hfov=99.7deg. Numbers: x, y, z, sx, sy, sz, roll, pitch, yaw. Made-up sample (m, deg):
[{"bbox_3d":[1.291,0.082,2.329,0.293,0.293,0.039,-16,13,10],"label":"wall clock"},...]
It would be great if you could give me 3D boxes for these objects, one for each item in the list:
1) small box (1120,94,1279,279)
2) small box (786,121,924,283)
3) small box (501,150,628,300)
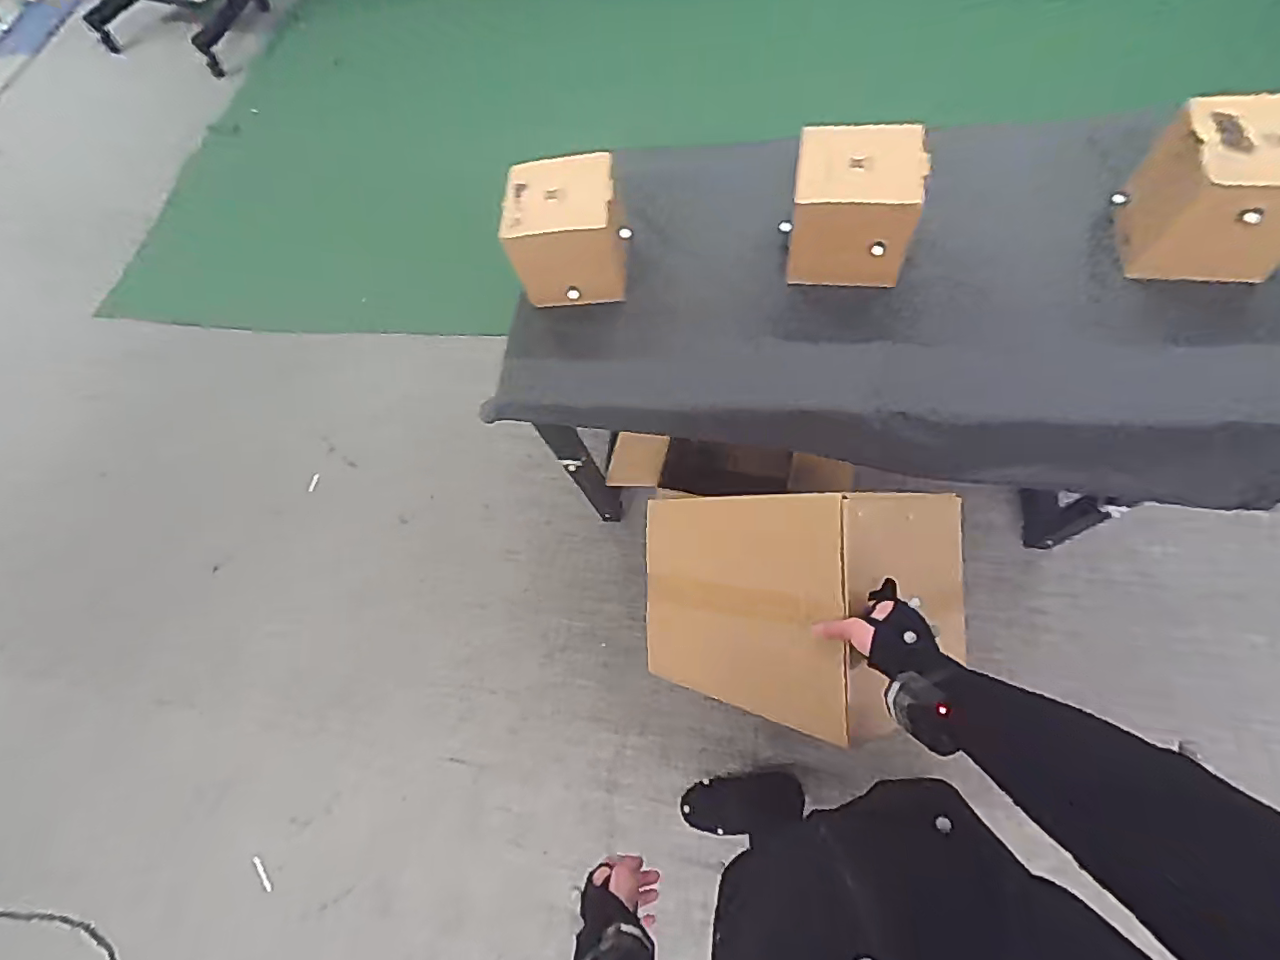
[{"bbox_3d":[0.827,-0.407,0.766,0.179,0.176,0.168,8,70,12],"label":"small box"},{"bbox_3d":[0.336,-0.437,0.867,0.179,0.176,0.168,6,68,13],"label":"small box"},{"bbox_3d":[-0.119,-0.434,0.941,0.179,0.176,0.168,-1,68,8],"label":"small box"}]
